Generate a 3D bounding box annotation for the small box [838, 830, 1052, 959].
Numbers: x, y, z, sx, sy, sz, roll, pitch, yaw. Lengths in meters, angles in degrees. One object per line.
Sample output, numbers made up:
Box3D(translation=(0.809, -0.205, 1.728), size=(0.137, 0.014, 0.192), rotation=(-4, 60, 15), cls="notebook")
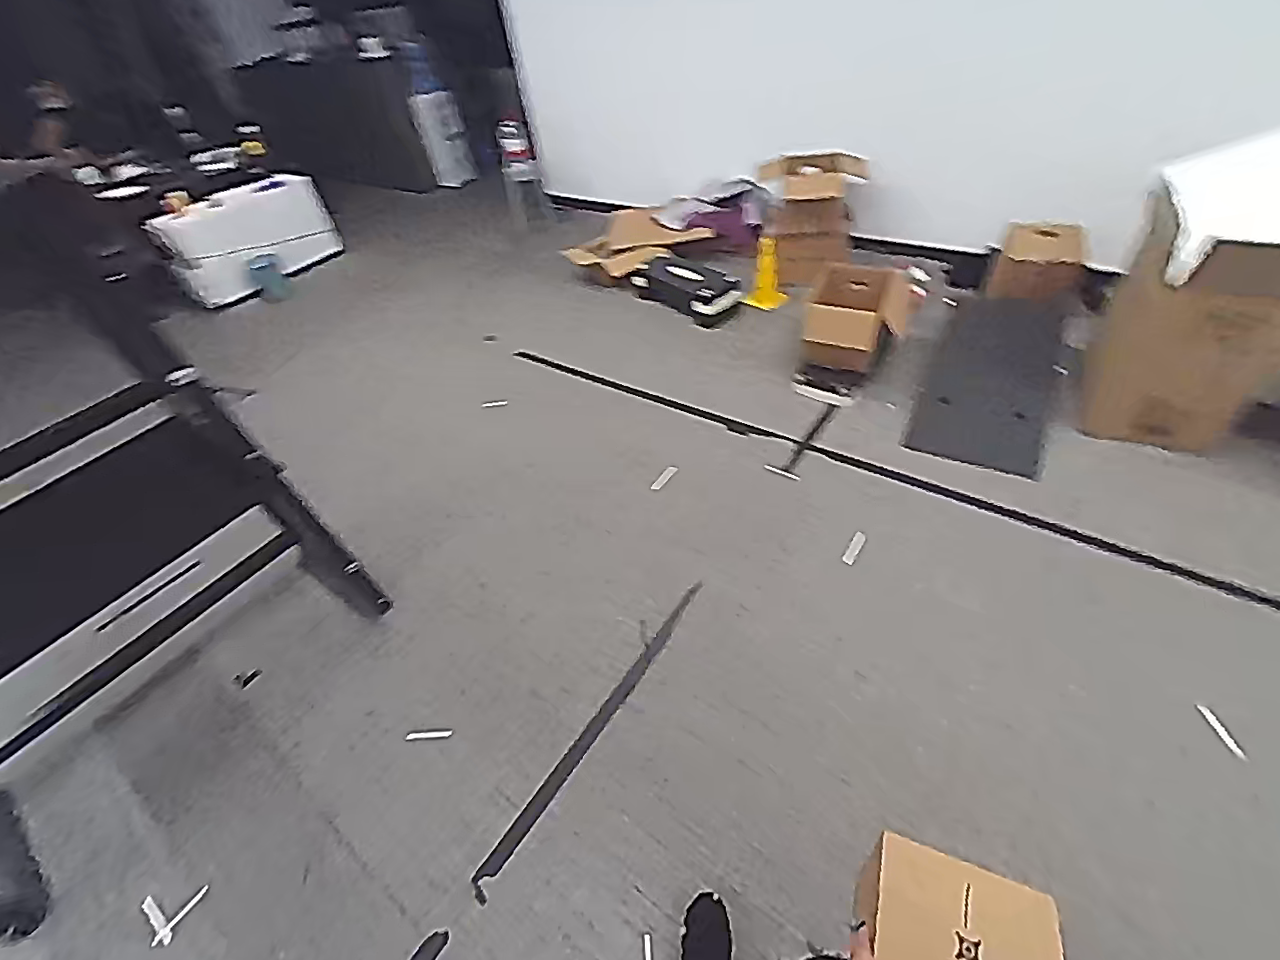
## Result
Box3D(translation=(0.305, 0.518, 0.562), size=(0.168, 0.176, 0.179), rotation=(12, 41, 20), cls="small box")
